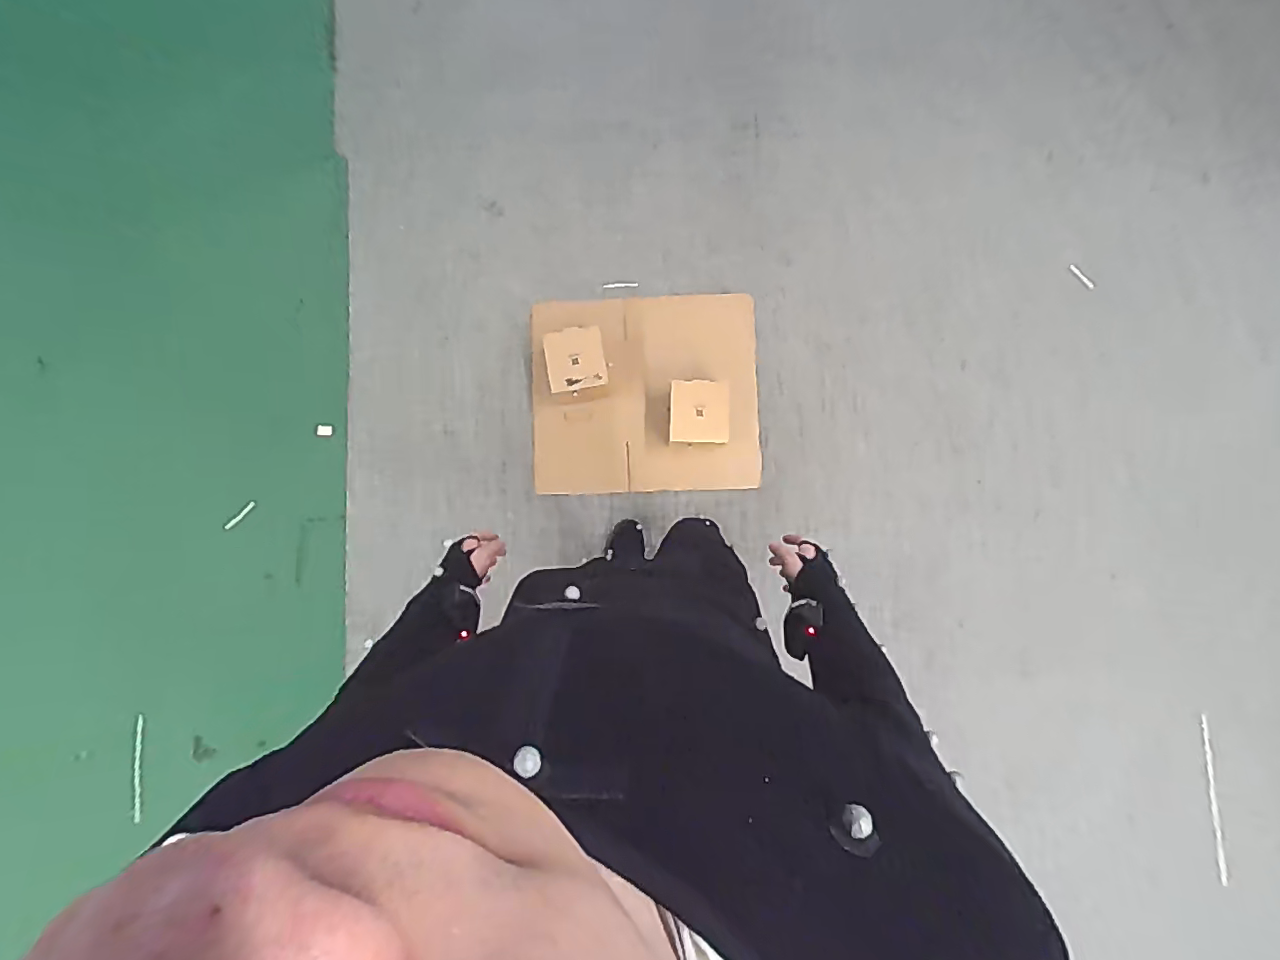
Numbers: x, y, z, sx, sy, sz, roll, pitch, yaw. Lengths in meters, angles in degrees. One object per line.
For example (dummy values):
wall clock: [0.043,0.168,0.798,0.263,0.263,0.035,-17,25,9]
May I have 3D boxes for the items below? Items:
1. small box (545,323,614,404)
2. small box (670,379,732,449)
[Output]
small box: [-0.172,-0.337,1.585,0.168,0.176,0.179,-9,86,1]
small box: [0.173,-0.184,1.560,0.168,0.176,0.179,2,86,3]
